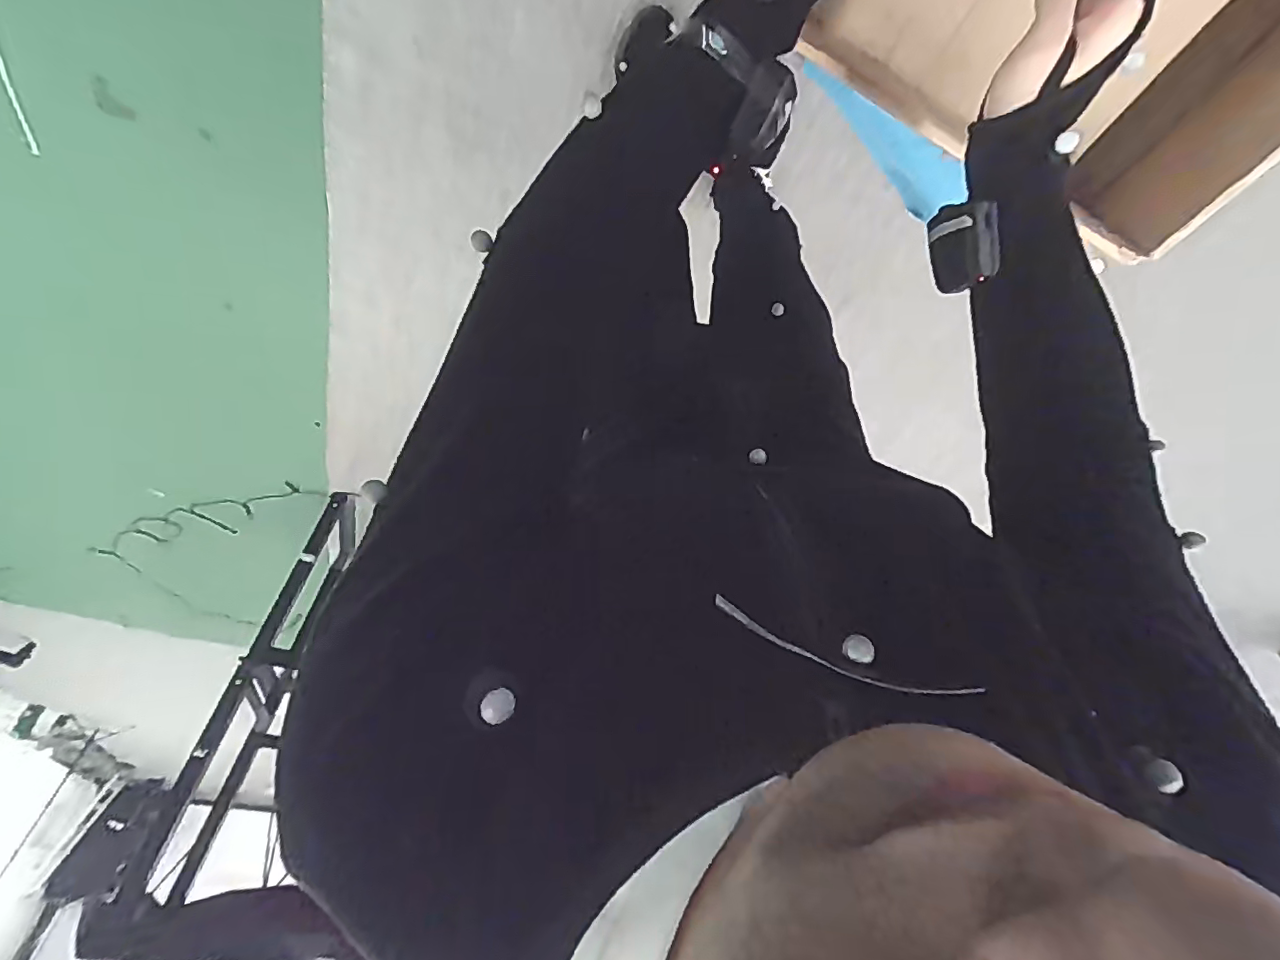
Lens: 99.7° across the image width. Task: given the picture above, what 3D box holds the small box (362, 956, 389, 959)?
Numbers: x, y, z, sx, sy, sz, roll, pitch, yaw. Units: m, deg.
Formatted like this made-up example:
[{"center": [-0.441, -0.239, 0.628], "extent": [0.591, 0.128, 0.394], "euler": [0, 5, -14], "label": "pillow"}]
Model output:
[{"center": [-0.741, 1.504, 1.566], "extent": [0.179, 0.176, 0.168], "euler": [19, 138, -16], "label": "small box"}]
